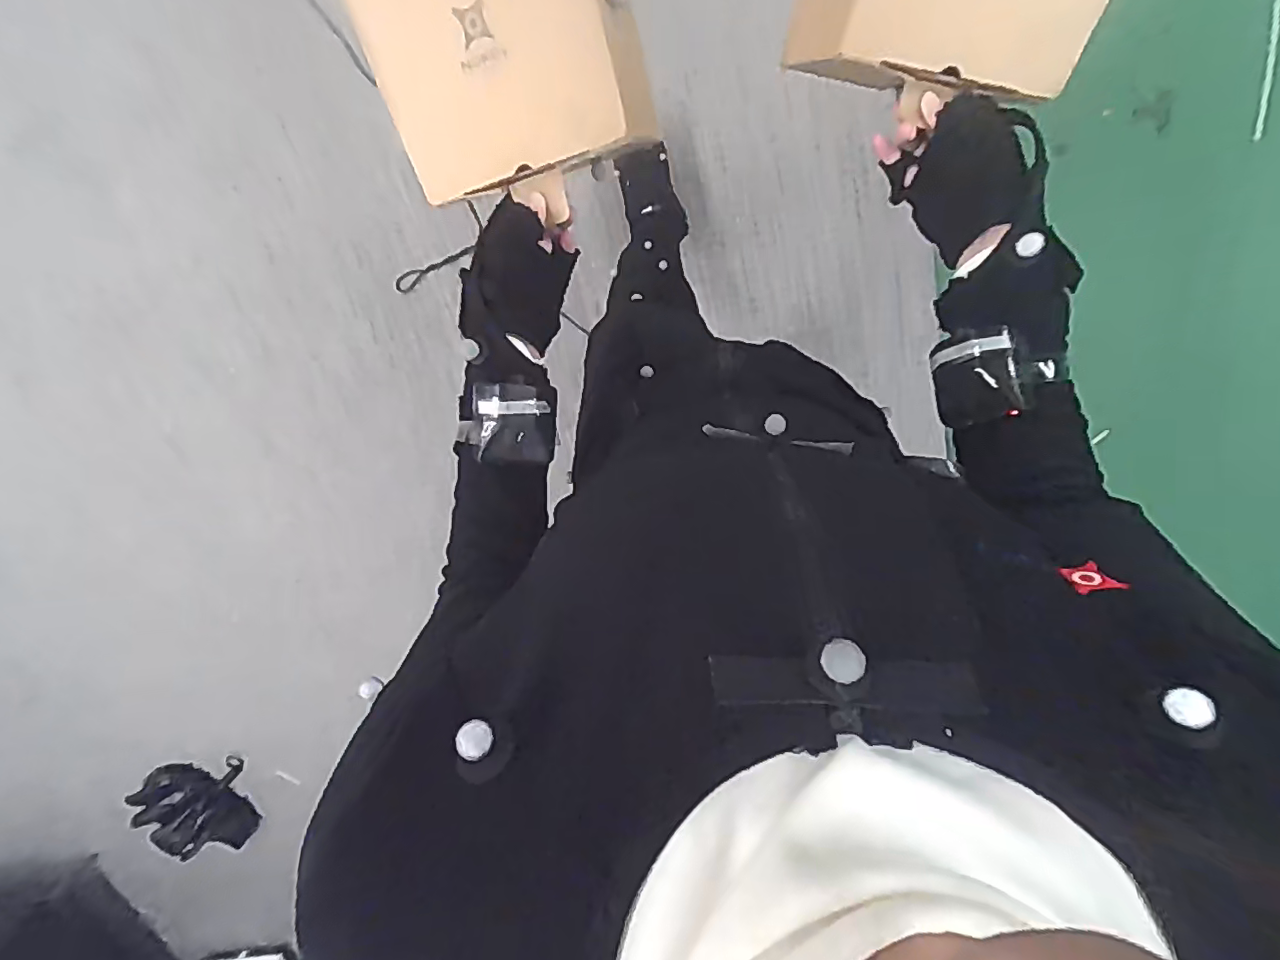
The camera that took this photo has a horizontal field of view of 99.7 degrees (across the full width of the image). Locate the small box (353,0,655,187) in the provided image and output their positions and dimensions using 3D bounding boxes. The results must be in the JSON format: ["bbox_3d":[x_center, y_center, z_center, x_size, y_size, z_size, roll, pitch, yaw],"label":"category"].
[{"bbox_3d":[-0.094,-0.351,0.419,0.168,0.176,0.179,-10,119,16],"label":"small box"}]

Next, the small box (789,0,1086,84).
[{"bbox_3d":[0.223,-0.411,0.393,0.168,0.176,0.179,6,126,-7],"label":"small box"}]
